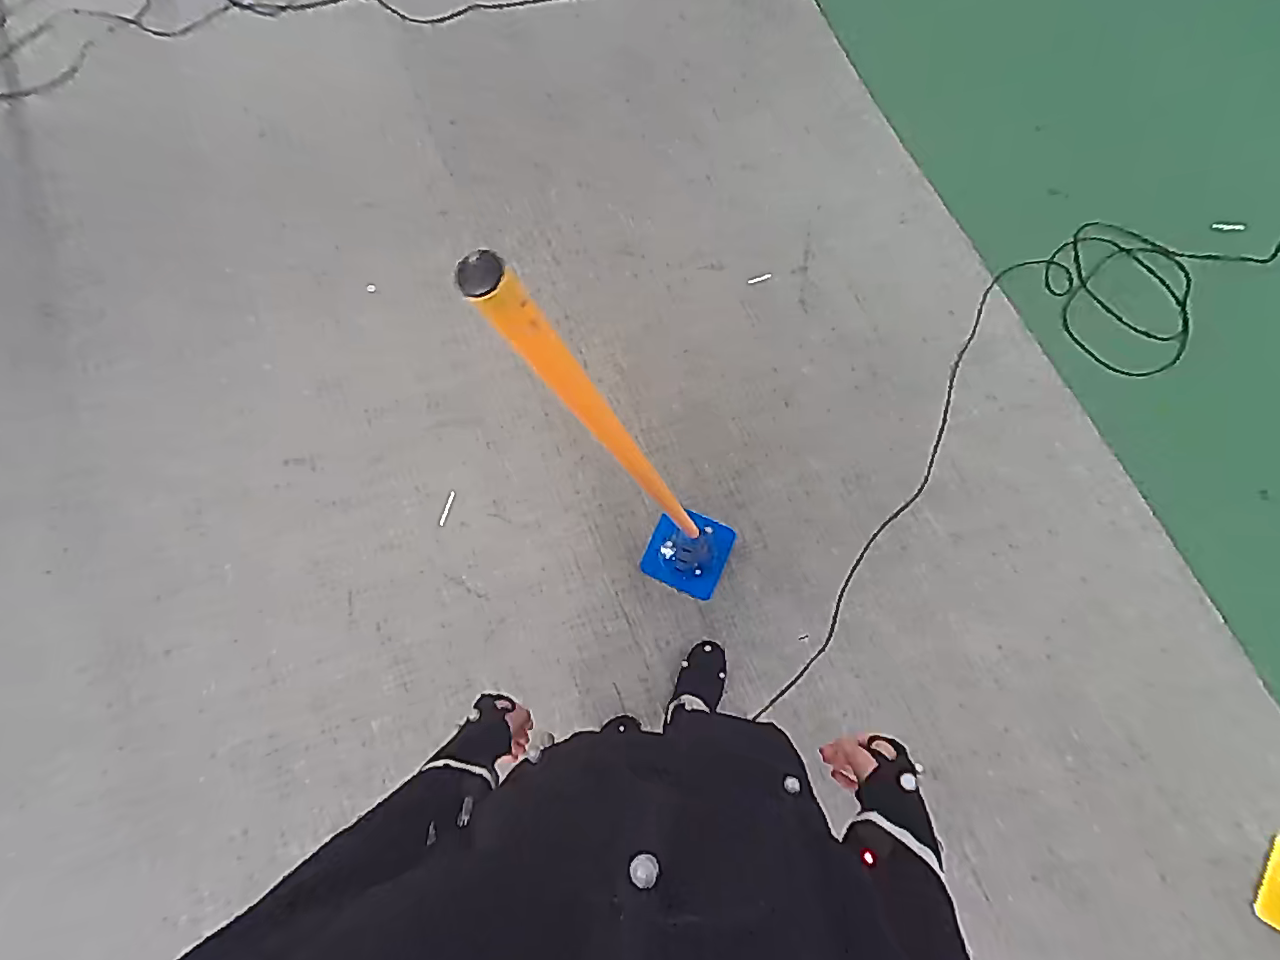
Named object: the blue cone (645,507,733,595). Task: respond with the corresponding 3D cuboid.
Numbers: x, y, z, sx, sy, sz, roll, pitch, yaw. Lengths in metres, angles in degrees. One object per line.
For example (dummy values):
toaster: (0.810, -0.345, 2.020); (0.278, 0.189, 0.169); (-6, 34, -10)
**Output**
blue cone: (0.108, 0.141, 1.193); (0.193, 0.380, 0.192); (21, 80, 9)
